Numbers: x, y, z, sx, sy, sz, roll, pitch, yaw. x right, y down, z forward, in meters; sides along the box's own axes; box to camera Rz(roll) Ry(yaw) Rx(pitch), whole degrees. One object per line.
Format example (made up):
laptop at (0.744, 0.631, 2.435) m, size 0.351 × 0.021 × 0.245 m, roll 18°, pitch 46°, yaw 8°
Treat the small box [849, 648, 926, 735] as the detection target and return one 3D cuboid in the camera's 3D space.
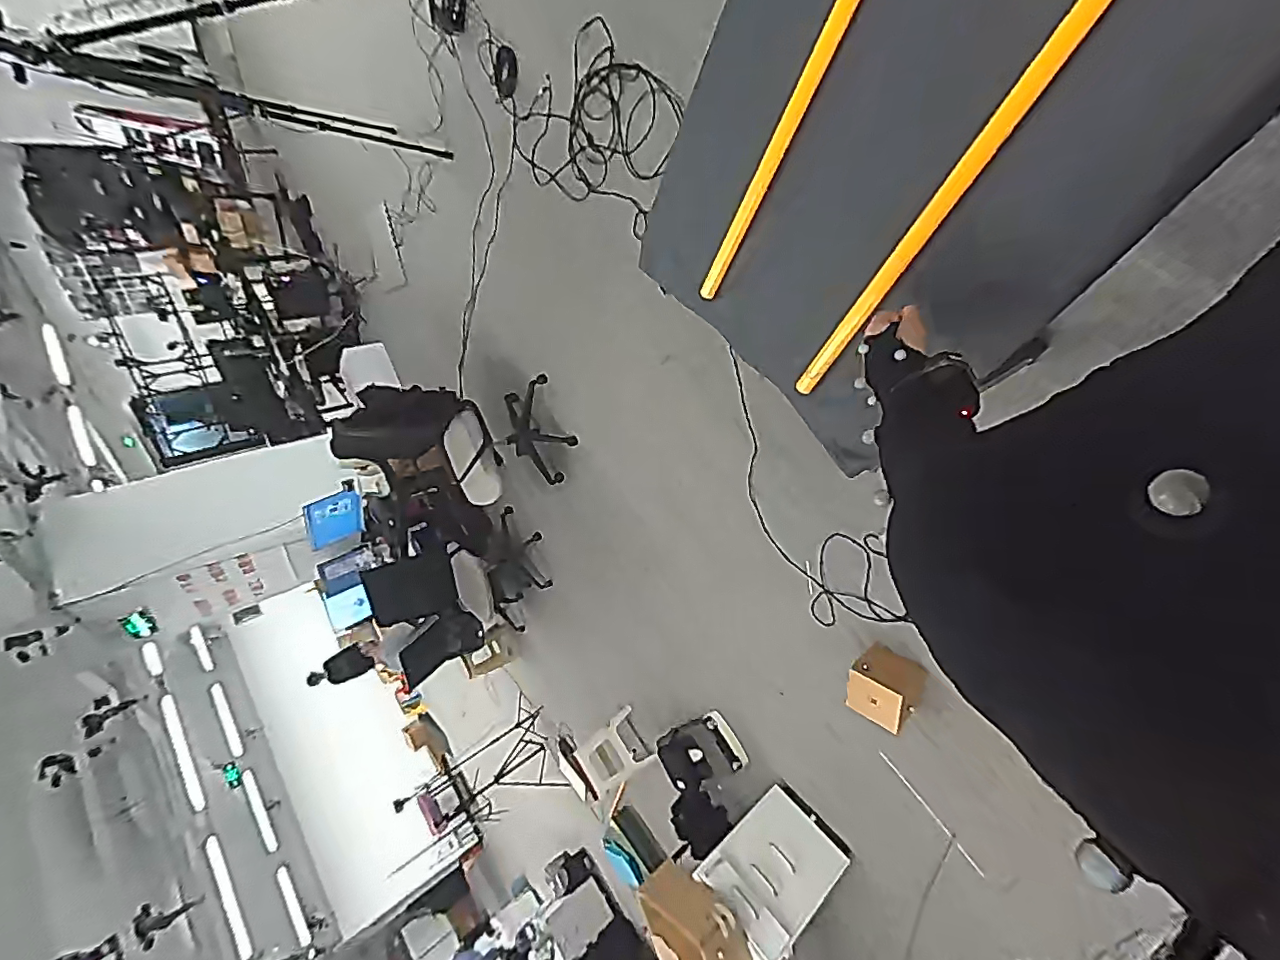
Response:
small box at (0.810, 0.682, 1.767) m, size 0.179 × 0.176 × 0.168 m, roll 20°, pitch 124°, yaw 45°
